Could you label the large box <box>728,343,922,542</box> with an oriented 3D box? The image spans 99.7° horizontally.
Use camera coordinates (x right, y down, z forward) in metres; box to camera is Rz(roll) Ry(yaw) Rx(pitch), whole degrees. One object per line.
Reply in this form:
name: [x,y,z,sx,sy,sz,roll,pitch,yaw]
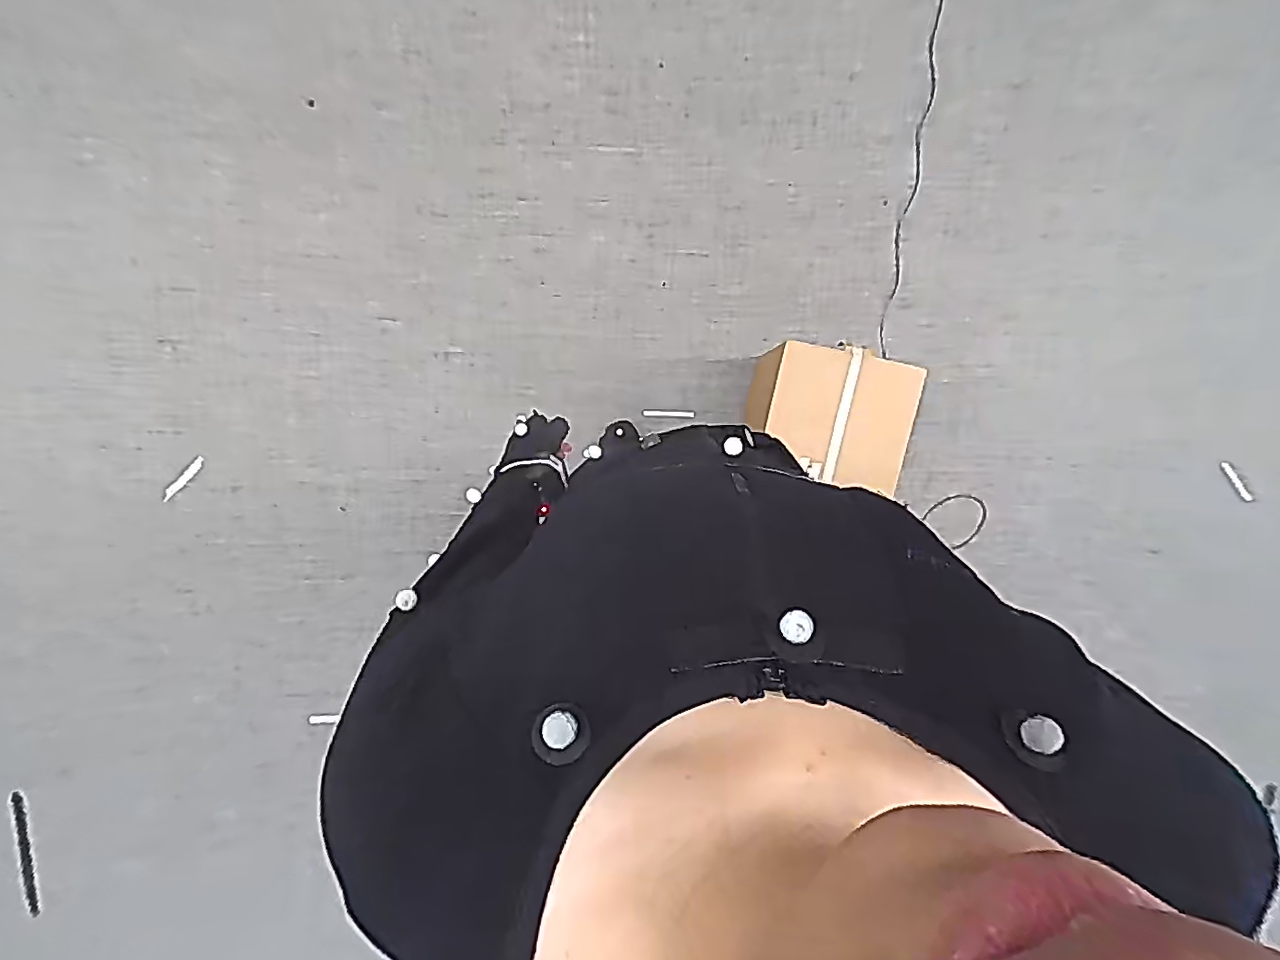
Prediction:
large box: [0.432,-0.099,1.349,0.320,0.320,0.408,12,98,-1]
